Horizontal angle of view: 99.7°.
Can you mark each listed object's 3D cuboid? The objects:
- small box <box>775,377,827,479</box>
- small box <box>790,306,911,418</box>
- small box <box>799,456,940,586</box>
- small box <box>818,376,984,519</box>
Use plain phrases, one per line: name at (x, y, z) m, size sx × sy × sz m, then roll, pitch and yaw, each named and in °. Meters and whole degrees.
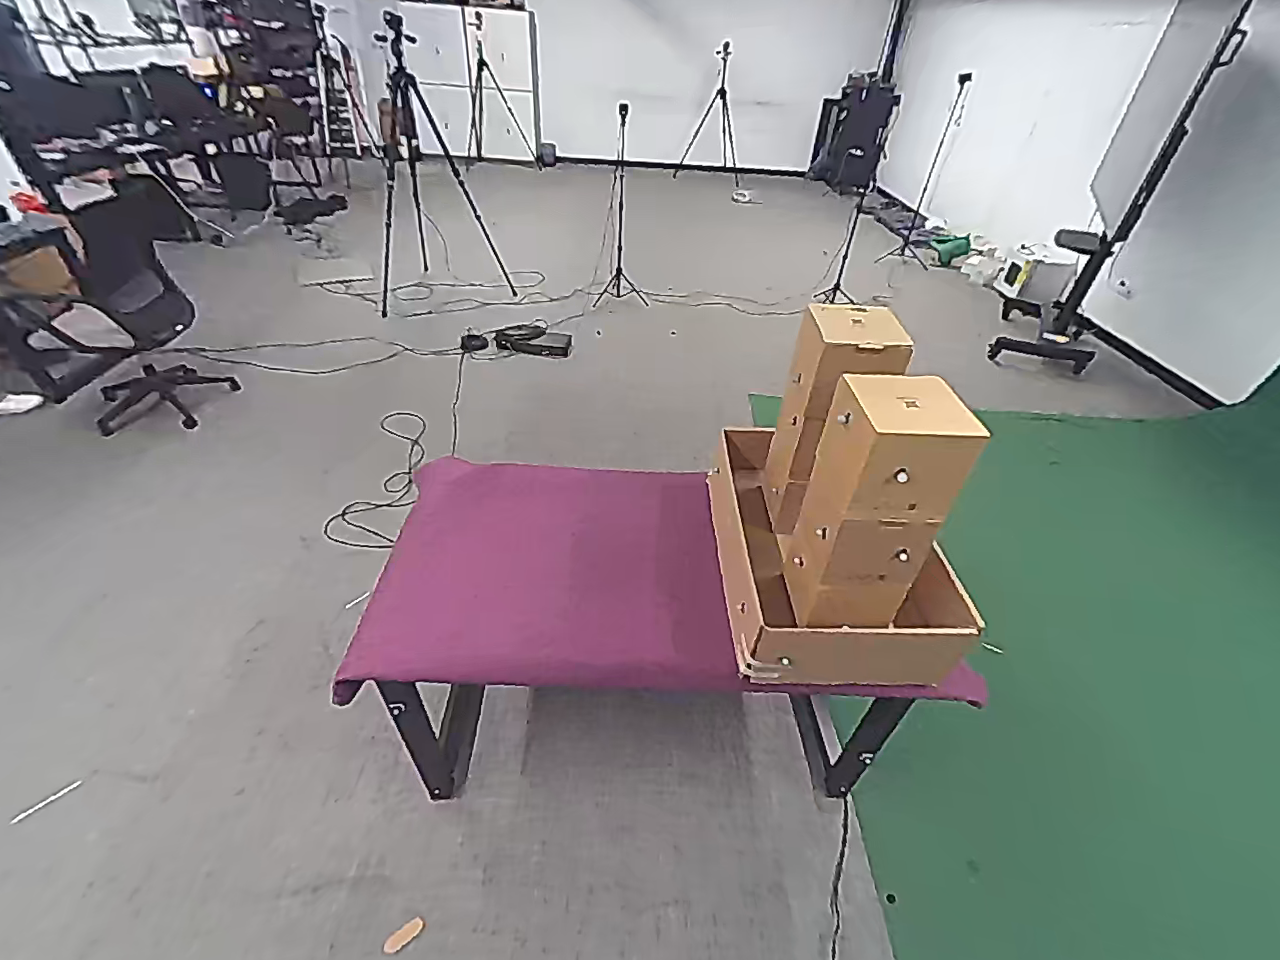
small box at (0.407, -0.109, 1.198) m, size 0.168 × 0.176 × 0.179 m, roll 3°, pitch 40°, yaw 0°
small box at (0.411, -0.233, 1.090) m, size 0.168 × 0.176 × 0.179 m, roll 3°, pitch 42°, yaw 0°
small box at (0.400, 0.075, 0.977) m, size 0.168 × 0.176 × 0.179 m, roll 2°, pitch 38°, yaw -1°
small box at (0.406, -0.052, 0.877) m, size 0.168 × 0.176 × 0.179 m, roll 2°, pitch 38°, yaw -1°
